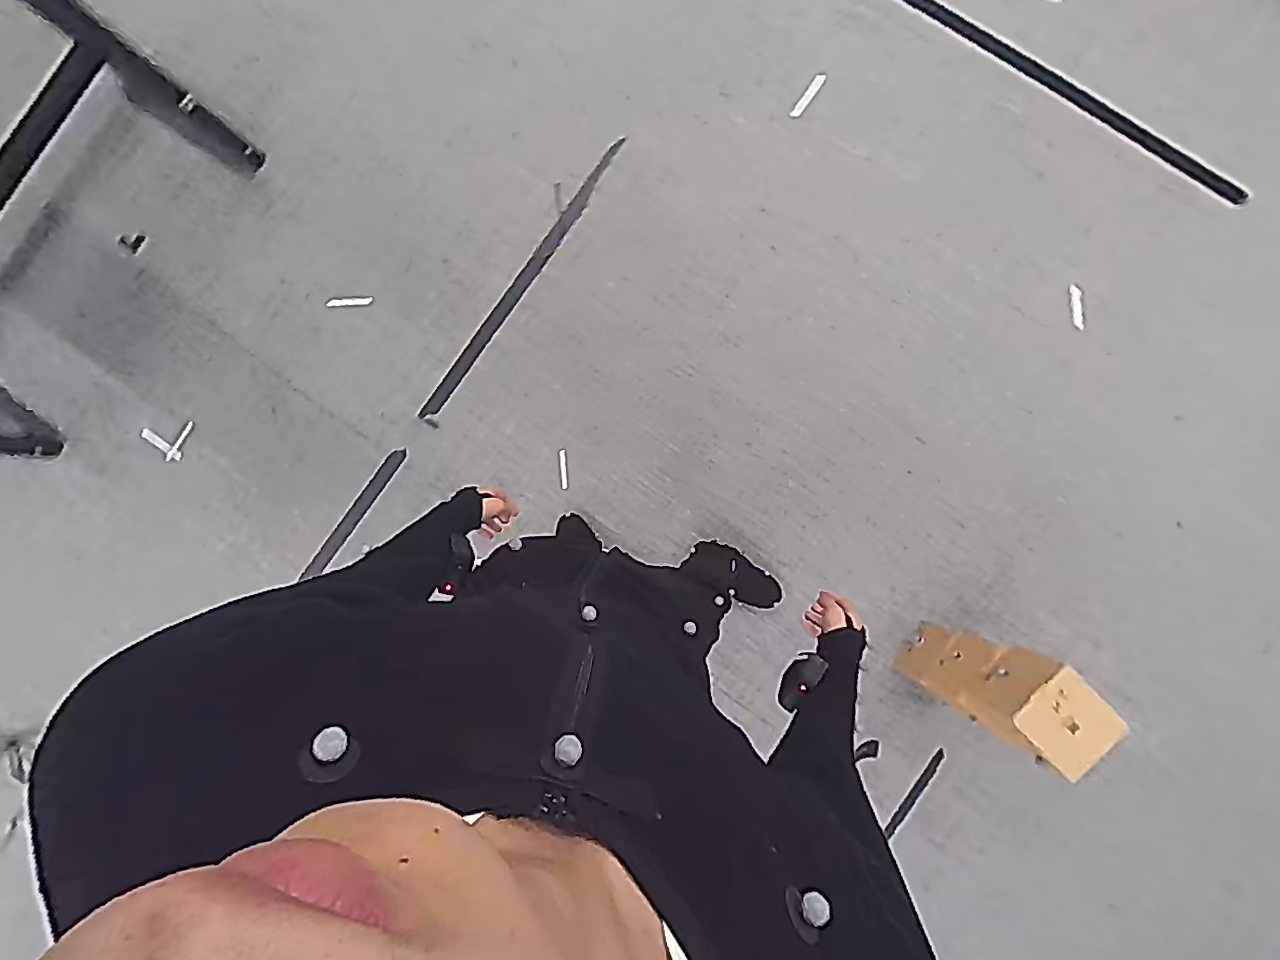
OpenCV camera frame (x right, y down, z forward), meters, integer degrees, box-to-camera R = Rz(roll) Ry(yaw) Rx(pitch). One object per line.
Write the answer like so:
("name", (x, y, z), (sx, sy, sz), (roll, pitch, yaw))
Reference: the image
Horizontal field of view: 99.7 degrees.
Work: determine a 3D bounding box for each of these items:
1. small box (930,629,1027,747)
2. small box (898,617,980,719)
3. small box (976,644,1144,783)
("small box", (0.845, 0.483, 1.288), (0.179, 0.176, 0.168), (41, 90, 3))
("small box", (0.840, 0.492, 1.449), (0.179, 0.176, 0.168), (38, 90, 2))
("small box", (0.857, 0.471, 1.123), (0.168, 0.176, 0.179), (-43, 87, 0))
